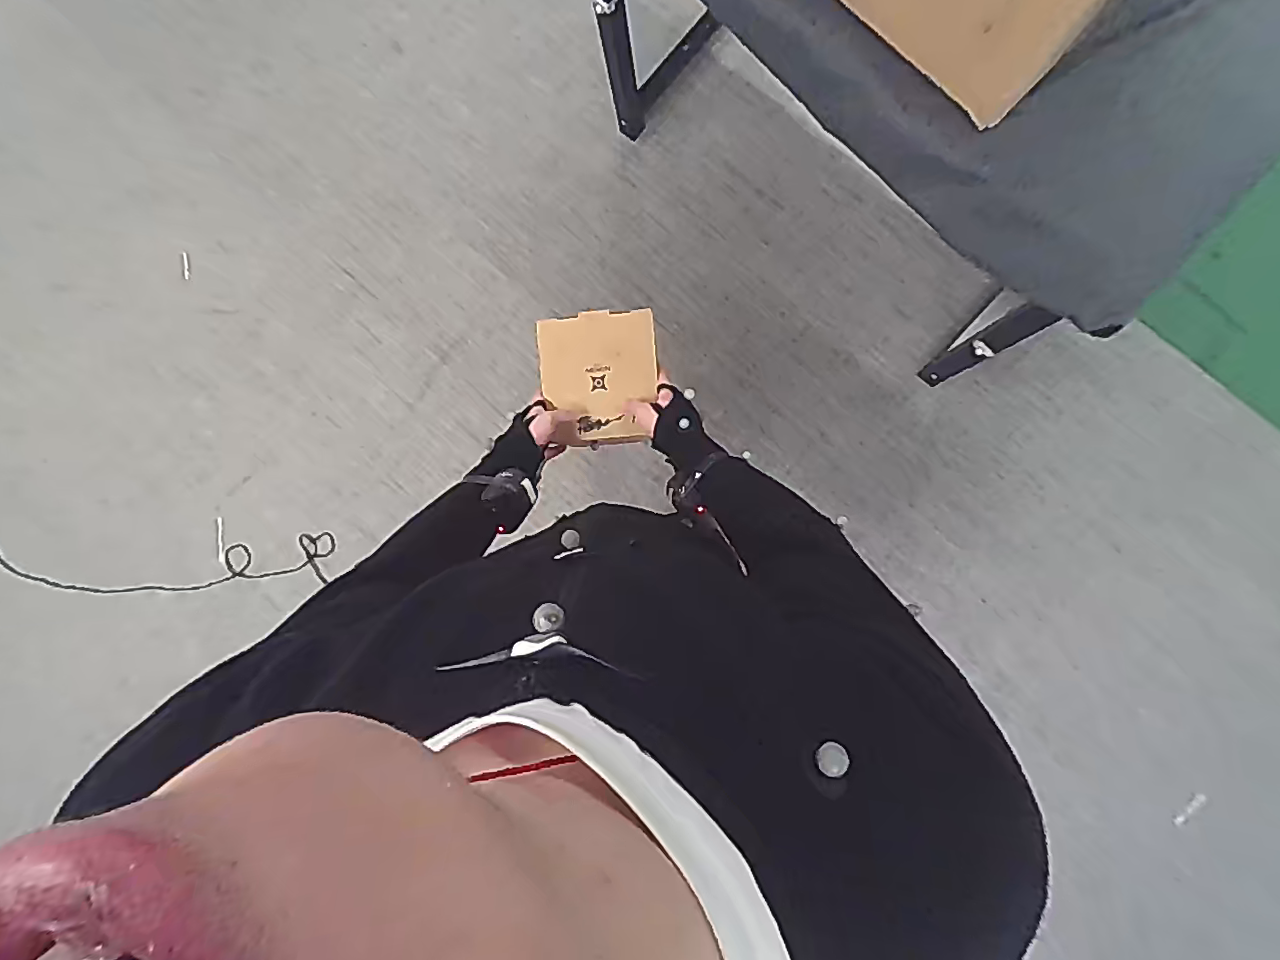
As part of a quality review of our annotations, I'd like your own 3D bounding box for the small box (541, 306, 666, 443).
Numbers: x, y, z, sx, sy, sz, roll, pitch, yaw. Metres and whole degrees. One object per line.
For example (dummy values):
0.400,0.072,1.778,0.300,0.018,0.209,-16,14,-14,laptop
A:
-0.048,-0.152,0.831,0.168,0.176,0.179,-4,92,5,small box
